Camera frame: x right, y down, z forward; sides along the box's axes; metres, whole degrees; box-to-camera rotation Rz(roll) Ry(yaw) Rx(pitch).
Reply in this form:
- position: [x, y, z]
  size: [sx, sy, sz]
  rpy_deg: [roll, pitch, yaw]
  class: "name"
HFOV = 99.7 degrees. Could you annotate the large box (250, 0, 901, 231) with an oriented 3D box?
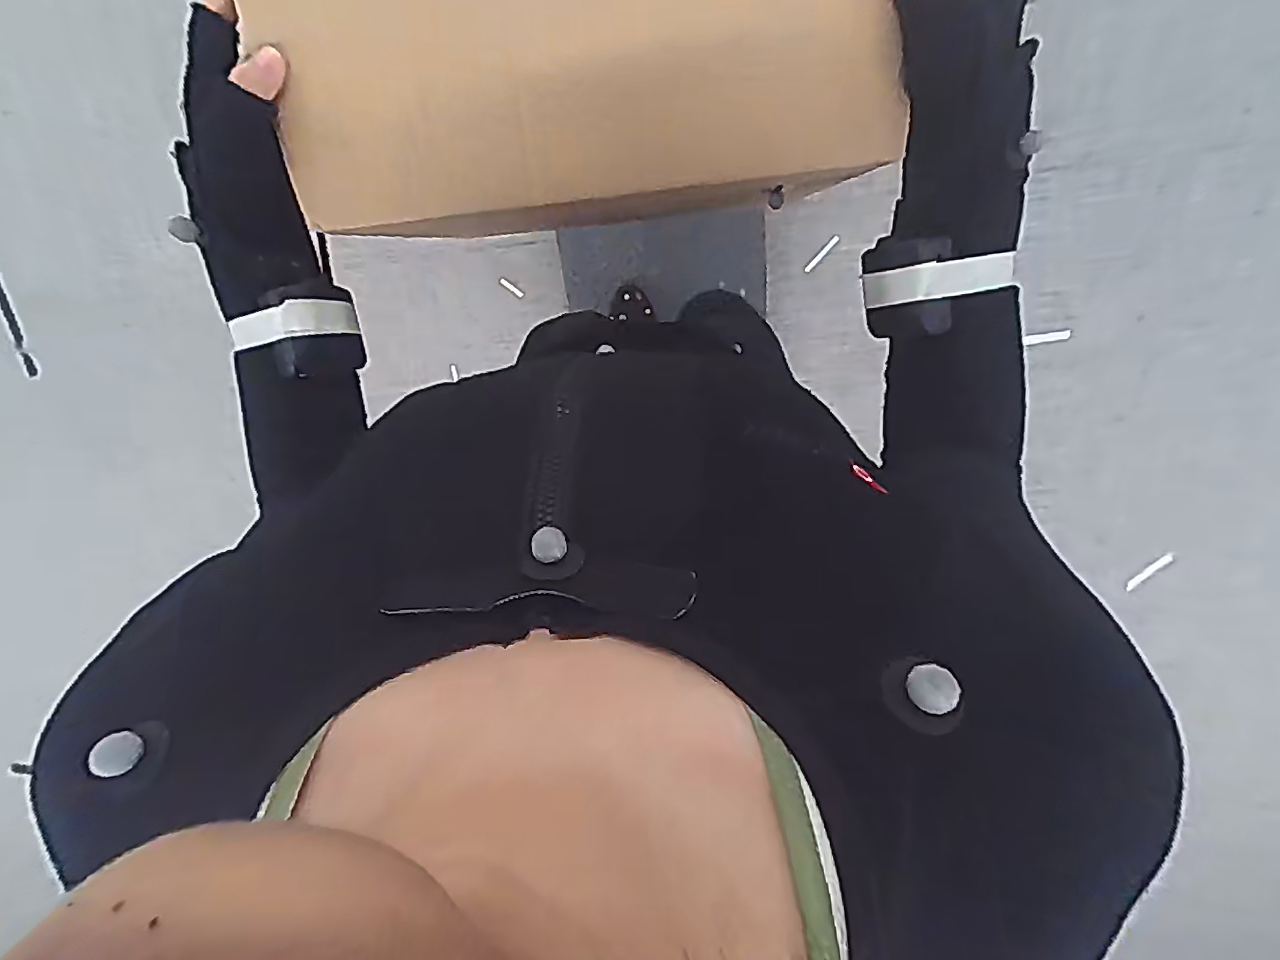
- position: [-0.040, -0.397, 0.448]
  size: [0.408, 0.320, 0.320]
  rpy_deg: [-4, 113, 5]
  class: "large box"
